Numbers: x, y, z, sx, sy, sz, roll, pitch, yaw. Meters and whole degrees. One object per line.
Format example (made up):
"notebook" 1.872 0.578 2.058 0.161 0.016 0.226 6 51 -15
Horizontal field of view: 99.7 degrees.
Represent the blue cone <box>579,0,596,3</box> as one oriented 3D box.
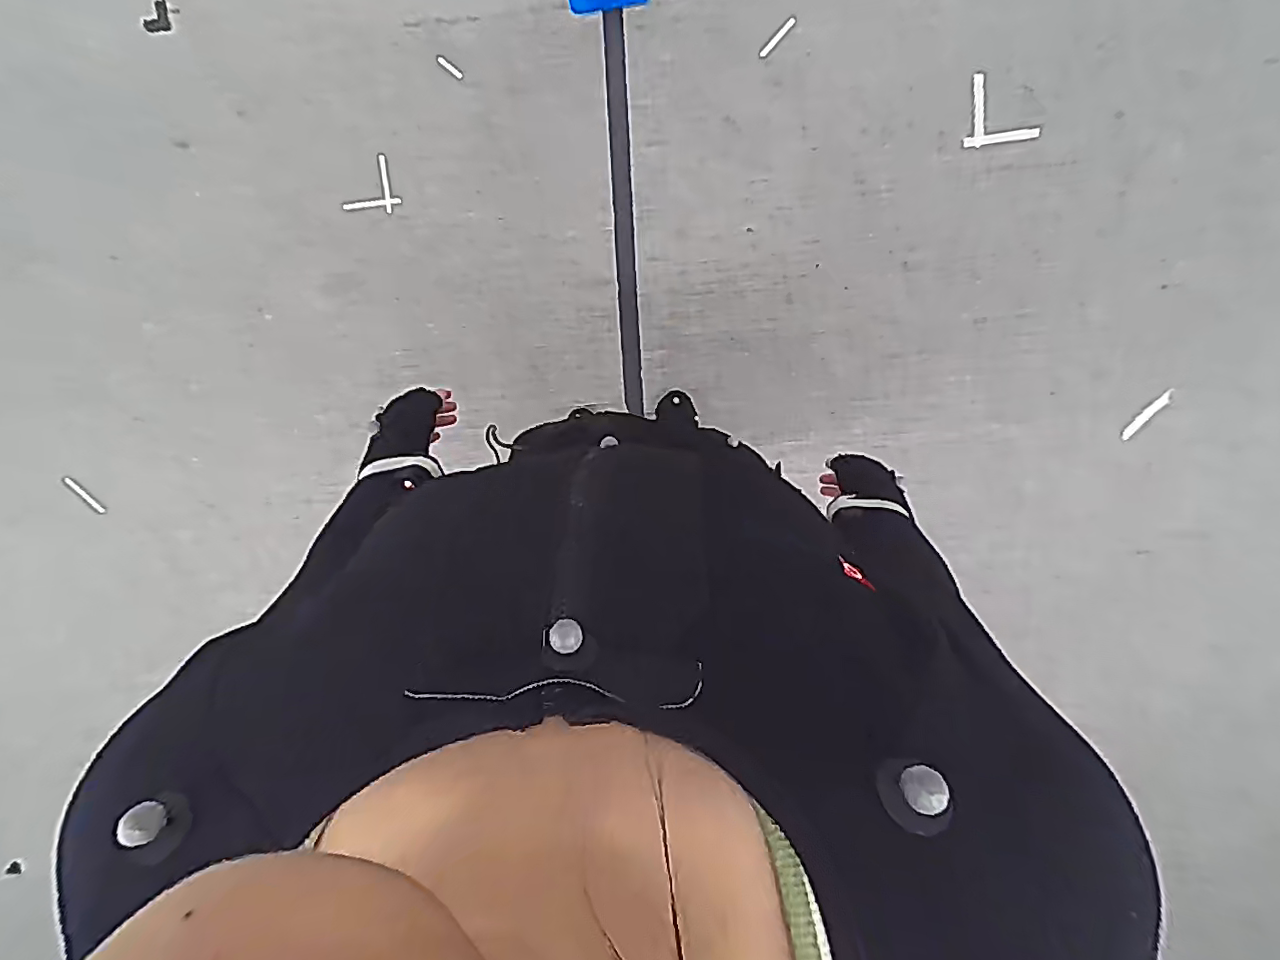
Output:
"blue cone" -0.084 -1.179 1.073 0.192 0.380 0.193 -9 101 4
